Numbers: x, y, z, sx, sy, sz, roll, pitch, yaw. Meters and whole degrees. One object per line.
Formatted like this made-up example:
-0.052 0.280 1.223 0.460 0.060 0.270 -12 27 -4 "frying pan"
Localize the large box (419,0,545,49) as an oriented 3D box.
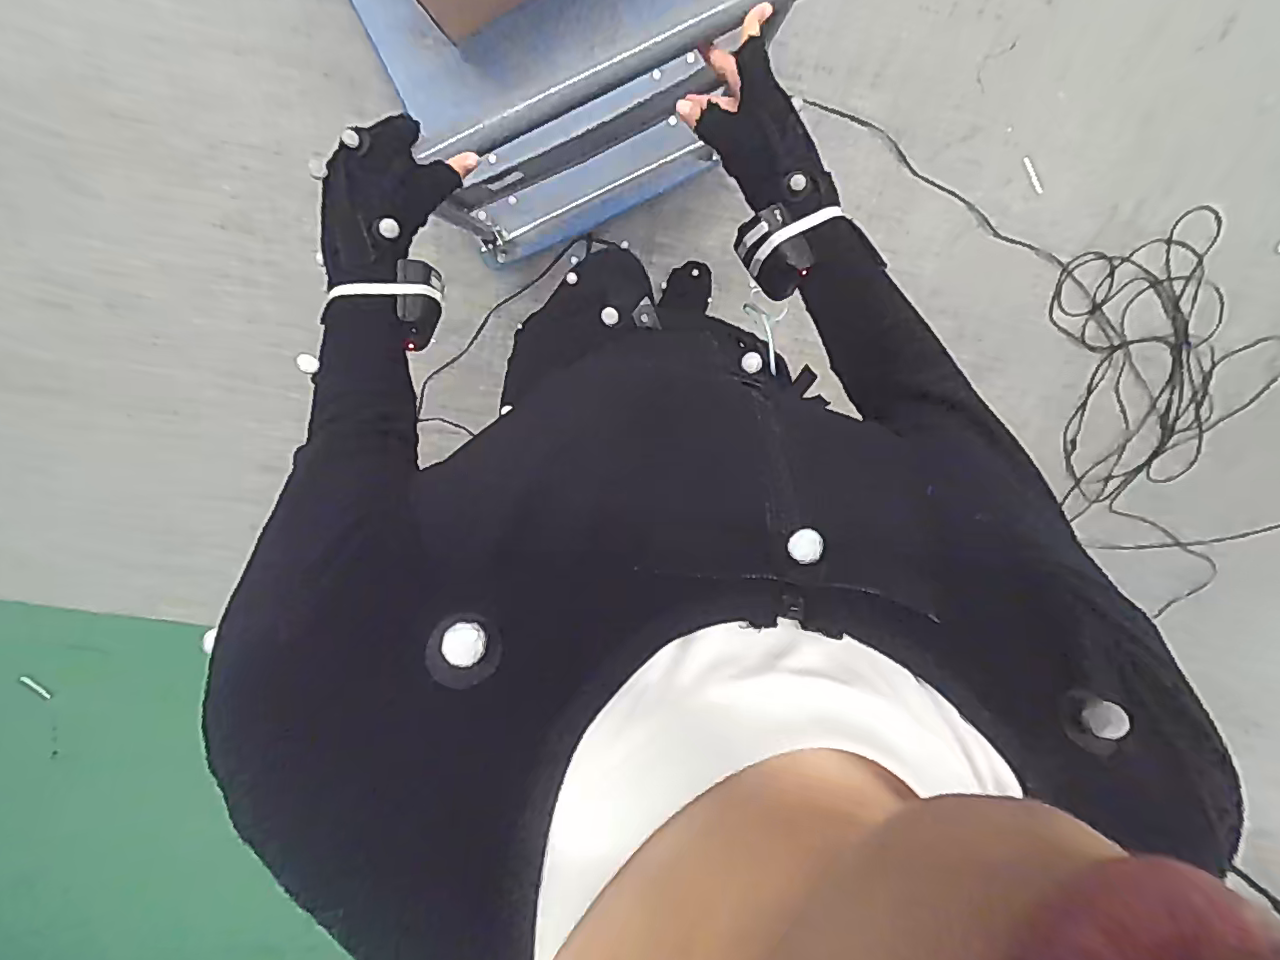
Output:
-0.214 -0.943 0.787 0.408 0.320 0.320 -24 111 9 "large box"
